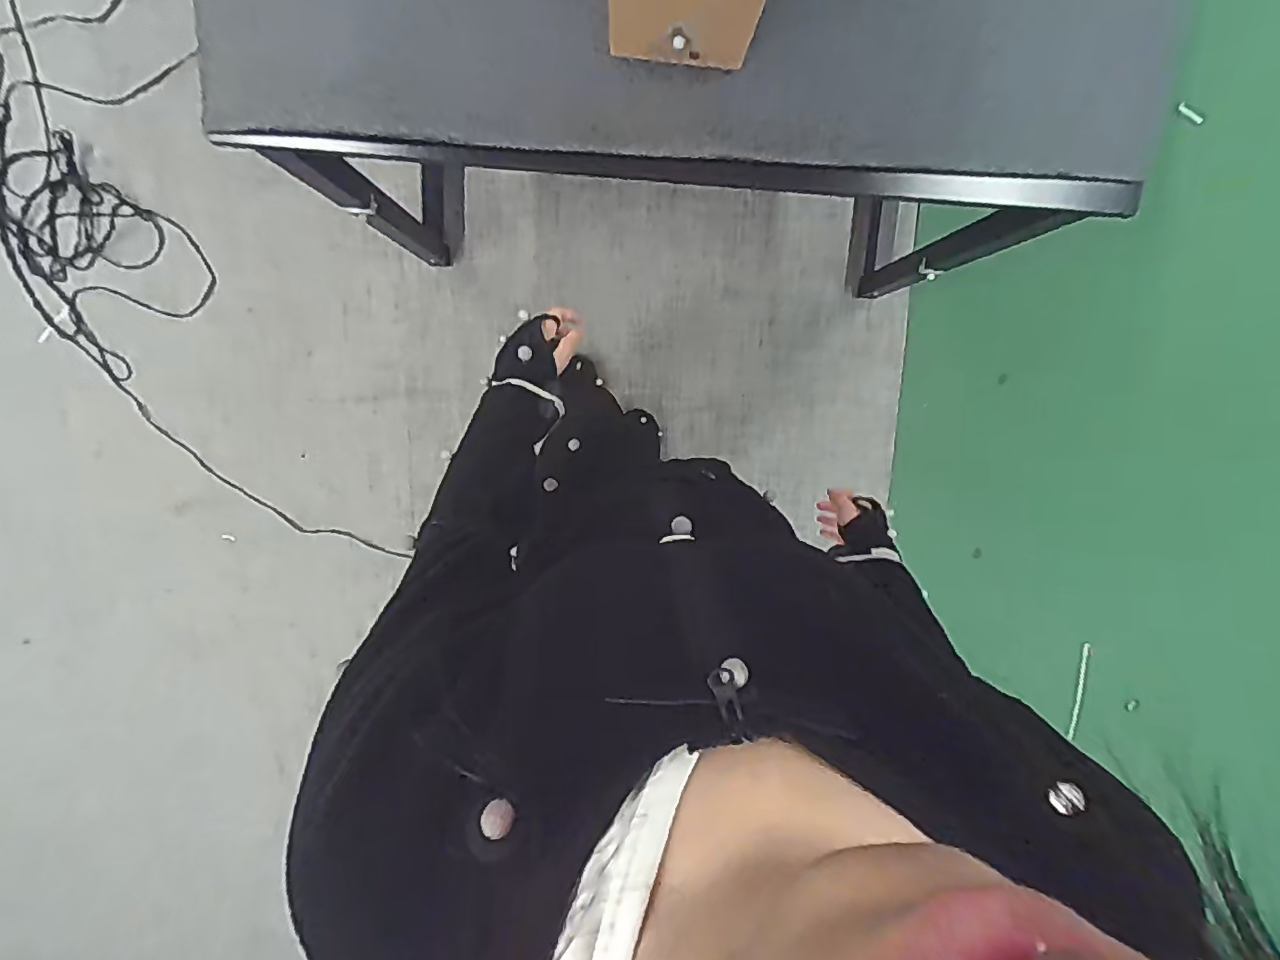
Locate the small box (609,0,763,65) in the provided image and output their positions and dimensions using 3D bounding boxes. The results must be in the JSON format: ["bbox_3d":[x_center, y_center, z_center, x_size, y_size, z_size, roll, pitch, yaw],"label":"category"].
[{"bbox_3d":[0.054,-0.592,0.571,0.168,0.176,0.179,5,98,-2],"label":"small box"}]
